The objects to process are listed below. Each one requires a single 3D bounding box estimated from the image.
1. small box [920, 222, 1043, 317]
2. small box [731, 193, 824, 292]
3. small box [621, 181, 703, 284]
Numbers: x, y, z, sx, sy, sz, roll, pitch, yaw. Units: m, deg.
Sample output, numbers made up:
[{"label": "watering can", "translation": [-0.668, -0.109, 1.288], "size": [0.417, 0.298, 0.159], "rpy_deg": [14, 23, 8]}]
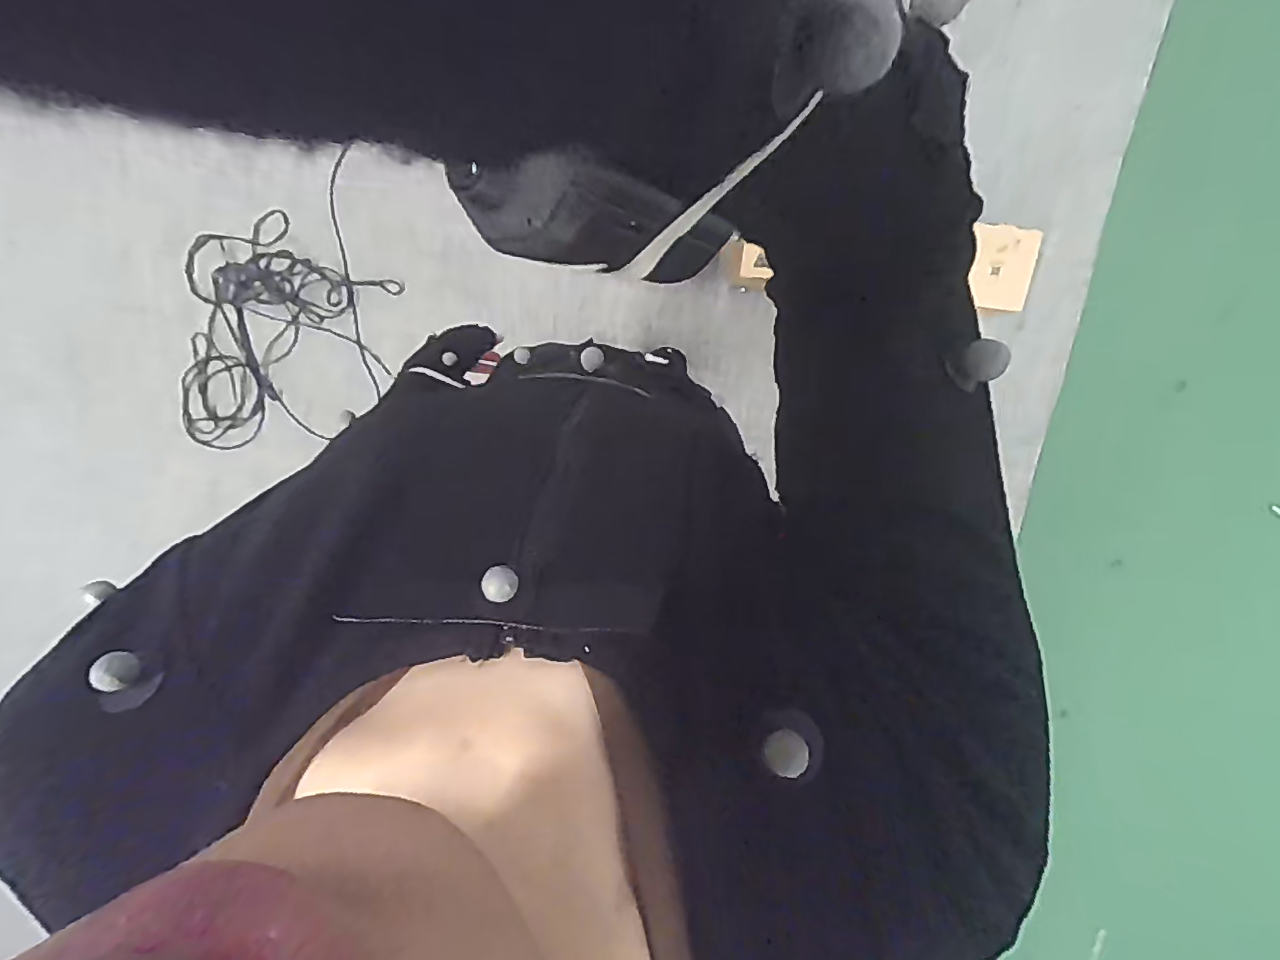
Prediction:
[{"label": "small box", "translation": [0.790, -0.485, 1.273], "size": [0.168, 0.176, 0.179], "rpy_deg": [7, 103, -1]}, {"label": "small box", "translation": [0.312, -0.545, 1.266], "size": [0.168, 0.176, 0.179], "rpy_deg": [7, 102, 0]}, {"label": "small box", "translation": [0.048, -0.572, 1.269], "size": [0.168, 0.176, 0.179], "rpy_deg": [7, 103, 0]}]
